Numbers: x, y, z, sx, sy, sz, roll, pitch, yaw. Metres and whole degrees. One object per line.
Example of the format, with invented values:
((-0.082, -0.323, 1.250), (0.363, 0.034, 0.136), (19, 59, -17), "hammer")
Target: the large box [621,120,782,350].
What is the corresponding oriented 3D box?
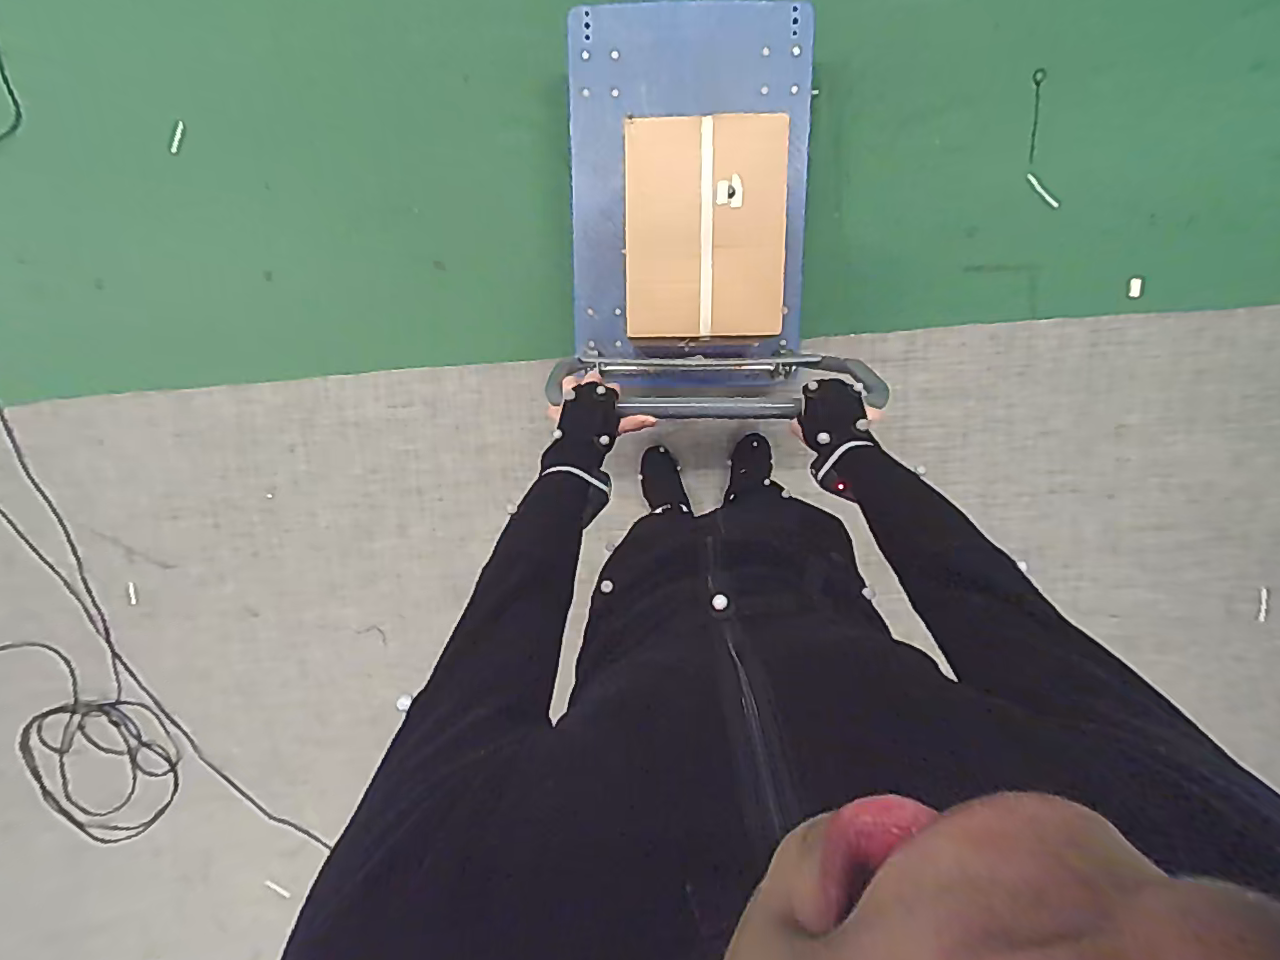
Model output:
((0.129, -0.511, 1.213), (0.320, 0.320, 0.408), (0, 100, 1), "large box")
